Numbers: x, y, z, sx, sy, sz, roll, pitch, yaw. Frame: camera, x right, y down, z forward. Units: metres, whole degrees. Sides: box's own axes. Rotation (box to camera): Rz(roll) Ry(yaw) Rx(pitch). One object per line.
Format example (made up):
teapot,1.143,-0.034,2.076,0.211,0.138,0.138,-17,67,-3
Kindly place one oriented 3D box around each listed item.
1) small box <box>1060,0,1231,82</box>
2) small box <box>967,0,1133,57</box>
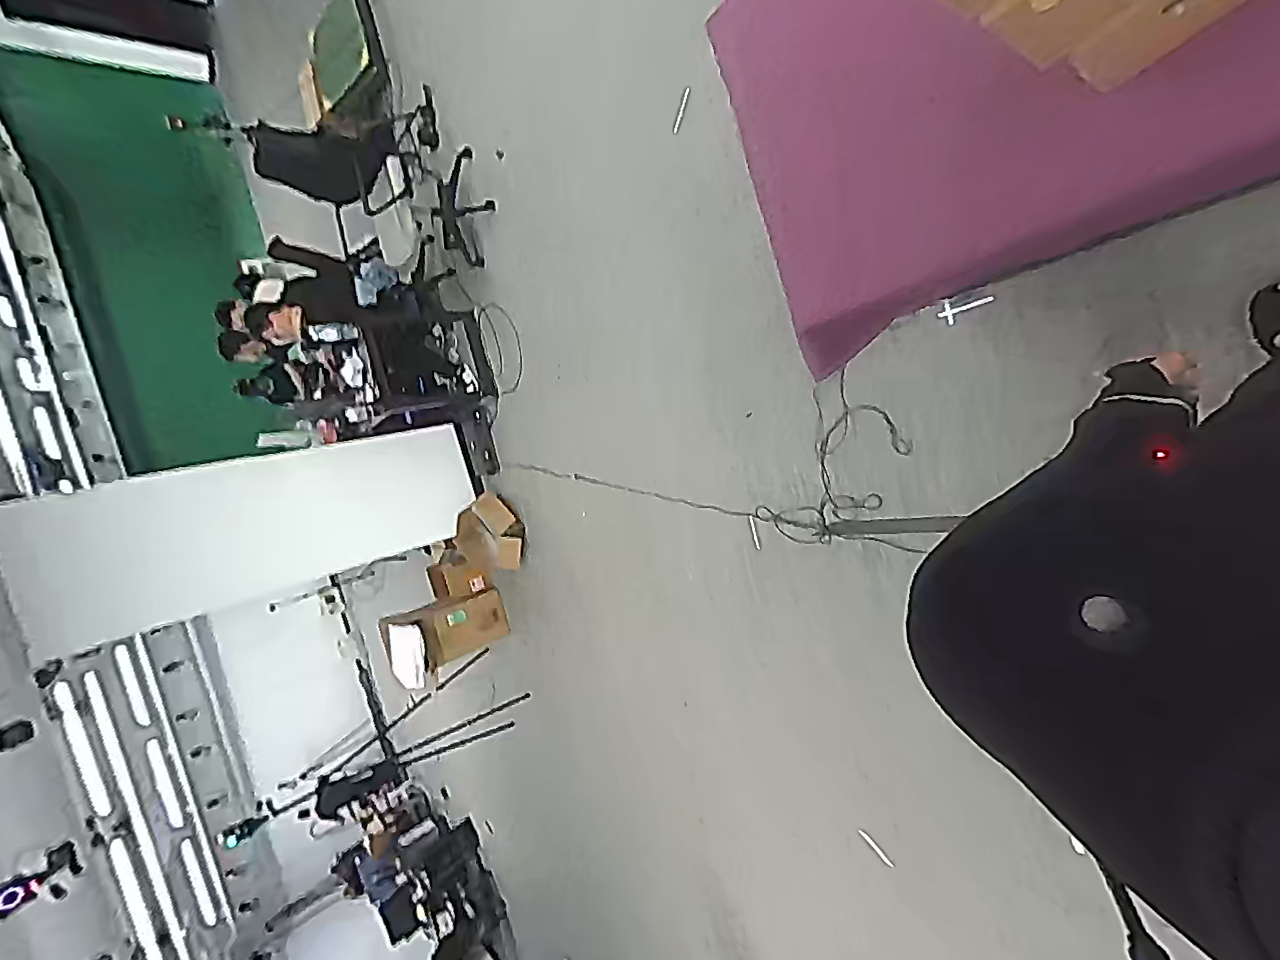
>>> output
small box,0.504,-0.539,0.529,0.179,0.176,0.168,-28,82,51
small box,0.365,-0.502,0.444,0.168,0.176,0.179,-20,88,53
